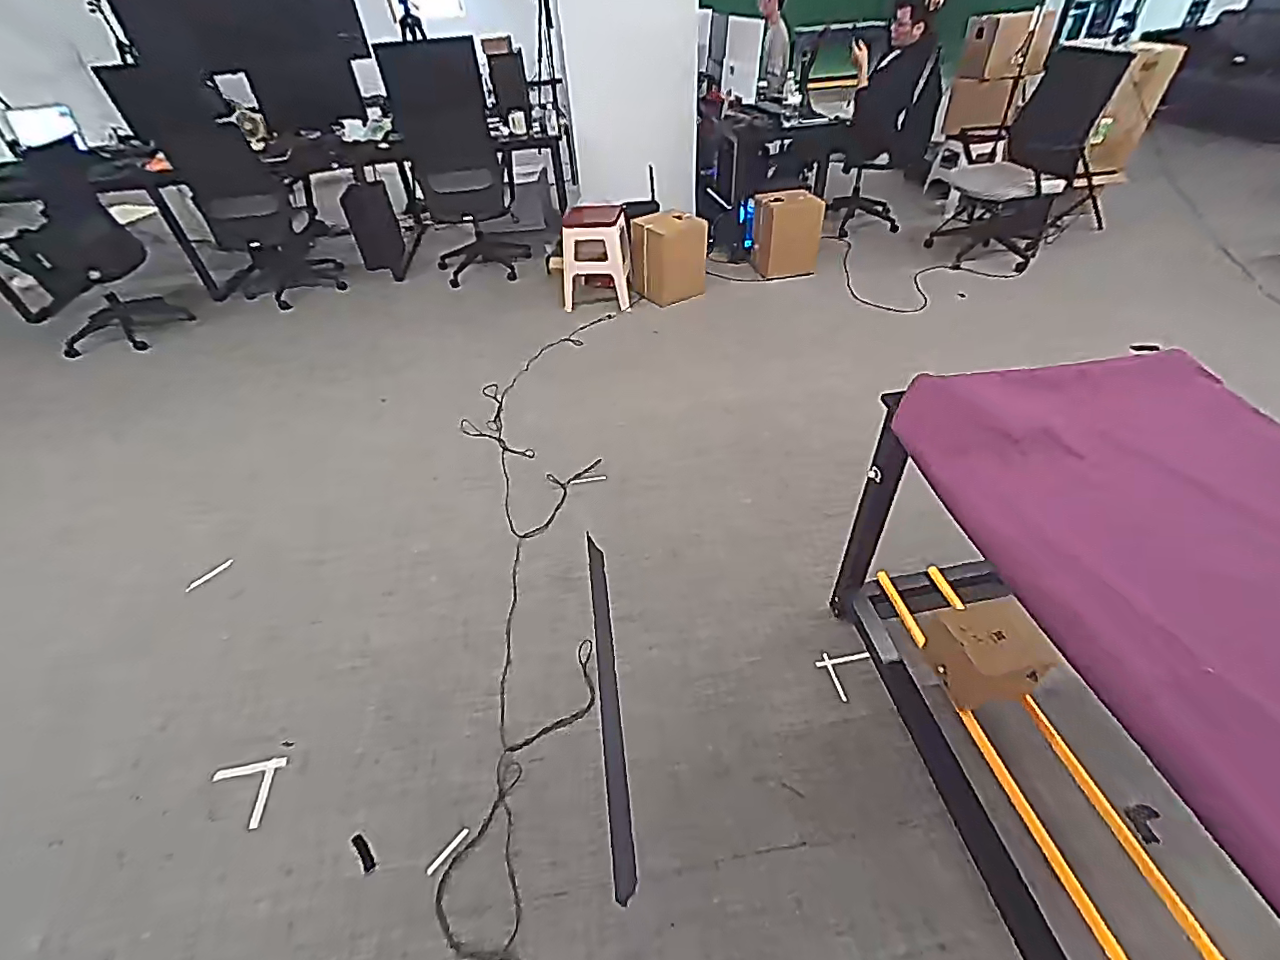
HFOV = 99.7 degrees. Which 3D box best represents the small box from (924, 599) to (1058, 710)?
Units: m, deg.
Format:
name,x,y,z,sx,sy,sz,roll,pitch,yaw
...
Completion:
name,x,y,z,sx,sy,sz,roll,pitch,yaw
small box,0.801,0.406,1.255,0.179,0.176,0.168,-12,43,-5
